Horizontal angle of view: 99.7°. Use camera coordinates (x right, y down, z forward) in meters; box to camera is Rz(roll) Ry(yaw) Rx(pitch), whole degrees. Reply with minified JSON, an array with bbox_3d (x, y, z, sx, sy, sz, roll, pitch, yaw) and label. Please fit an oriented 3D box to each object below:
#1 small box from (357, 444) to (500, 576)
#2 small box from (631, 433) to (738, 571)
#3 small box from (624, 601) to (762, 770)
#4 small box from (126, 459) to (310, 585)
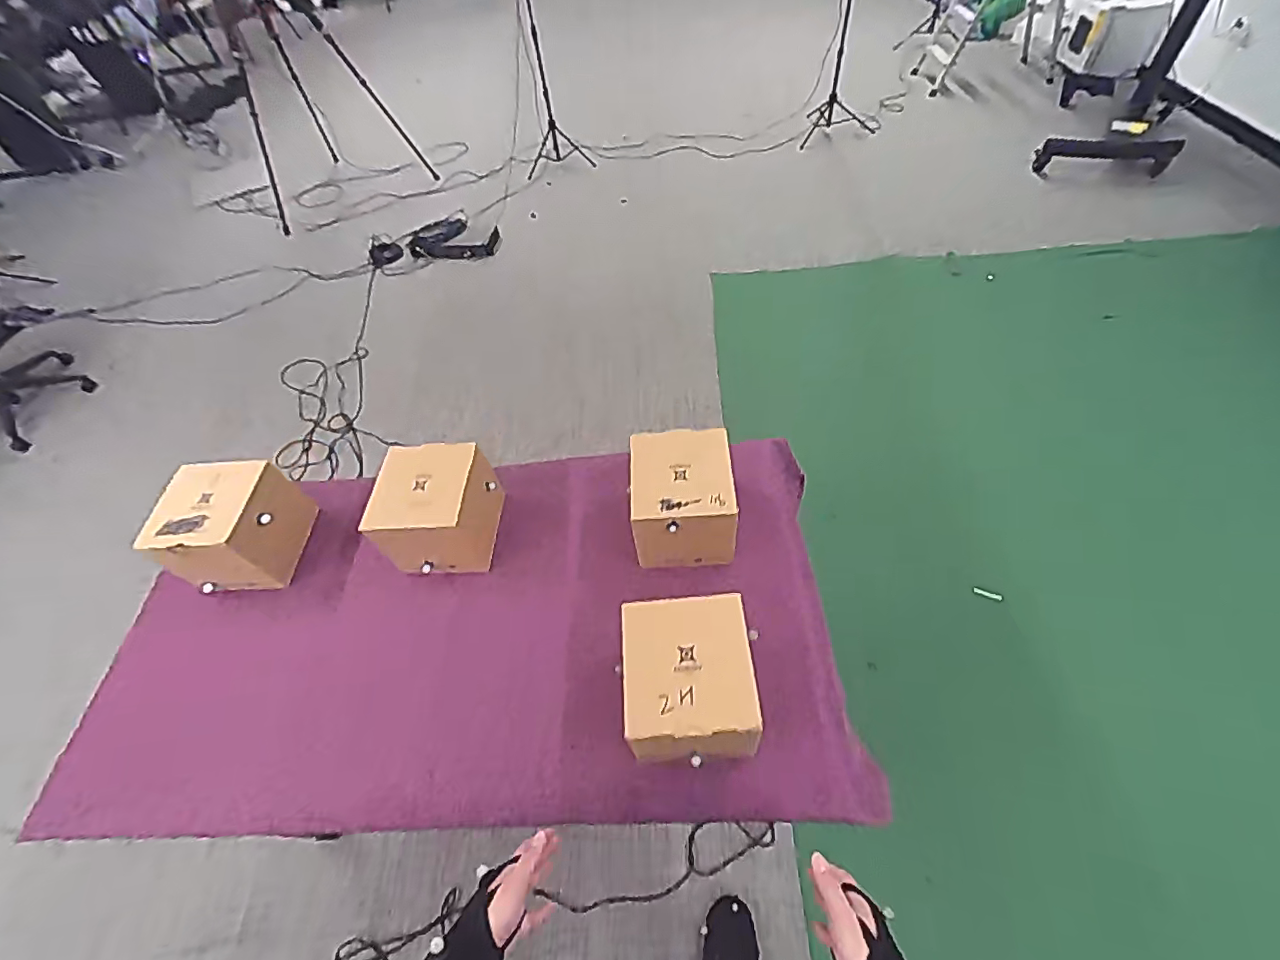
[{"bbox_3d":[-0.361,0.055,0.963,0.168,0.176,0.179,-2,55,5],"label":"small box"},{"bbox_3d":[0.074,0.041,0.931,0.168,0.176,0.179,-3,54,4],"label":"small box"},{"bbox_3d":[0.068,0.288,0.750,0.168,0.176,0.179,-5,52,4],"label":"small box"},{"bbox_3d":[-0.737,0.082,0.972,0.168,0.176,0.179,-2,55,3],"label":"small box"}]
